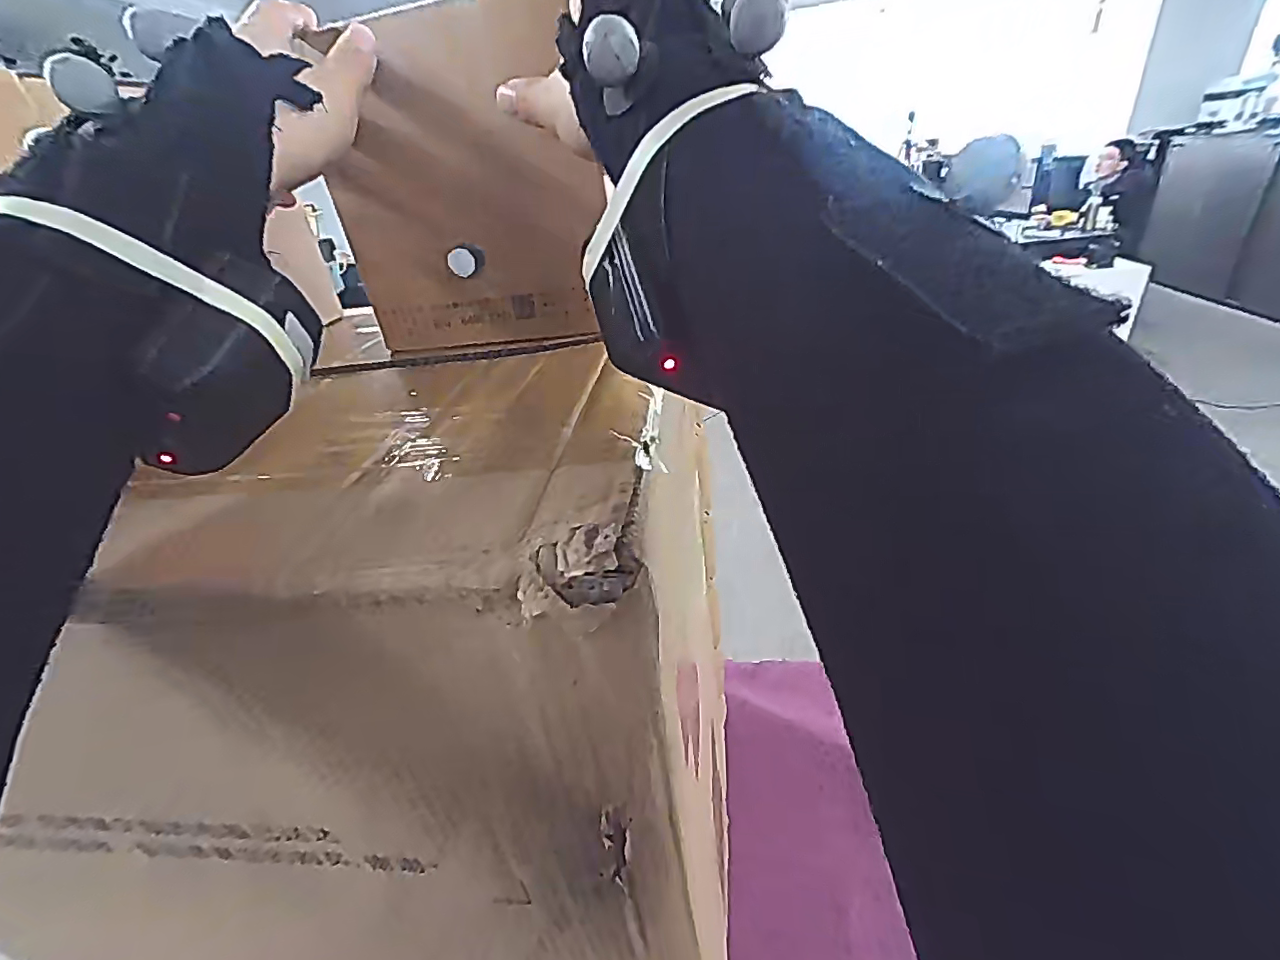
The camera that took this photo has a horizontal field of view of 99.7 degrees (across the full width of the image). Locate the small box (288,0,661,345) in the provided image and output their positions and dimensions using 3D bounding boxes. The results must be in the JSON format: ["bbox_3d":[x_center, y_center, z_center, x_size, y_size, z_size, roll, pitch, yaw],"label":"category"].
[{"bbox_3d":[-0.082,-0.201,0.375,0.168,0.176,0.179,-2,30,13],"label":"small box"}]
